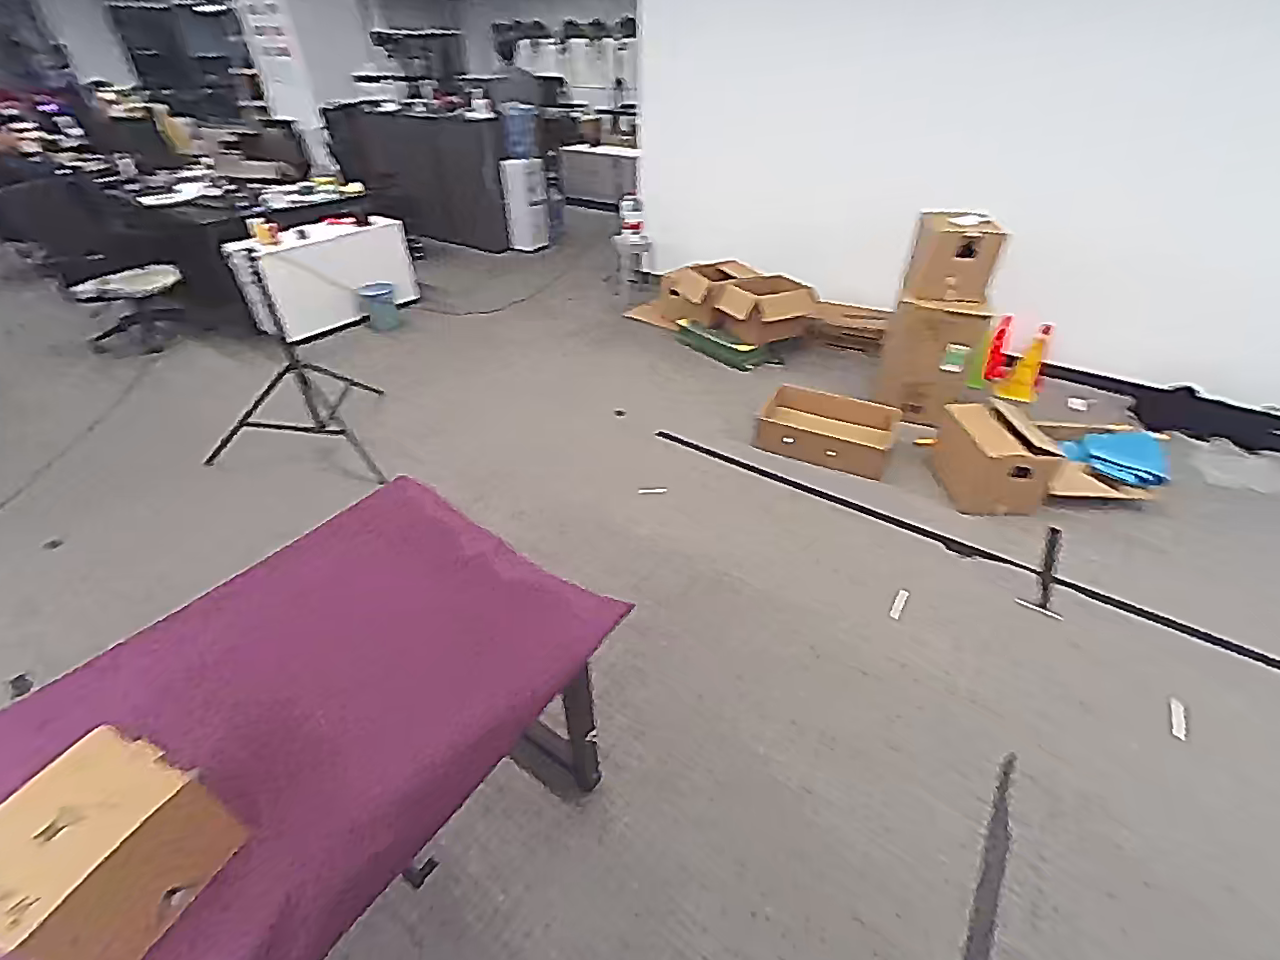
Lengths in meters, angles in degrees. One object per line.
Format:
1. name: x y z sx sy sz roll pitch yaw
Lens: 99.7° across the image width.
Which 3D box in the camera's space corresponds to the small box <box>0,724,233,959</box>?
1. small box: -0.628 0.434 0.635 0.168 0.176 0.179 14 39 18
